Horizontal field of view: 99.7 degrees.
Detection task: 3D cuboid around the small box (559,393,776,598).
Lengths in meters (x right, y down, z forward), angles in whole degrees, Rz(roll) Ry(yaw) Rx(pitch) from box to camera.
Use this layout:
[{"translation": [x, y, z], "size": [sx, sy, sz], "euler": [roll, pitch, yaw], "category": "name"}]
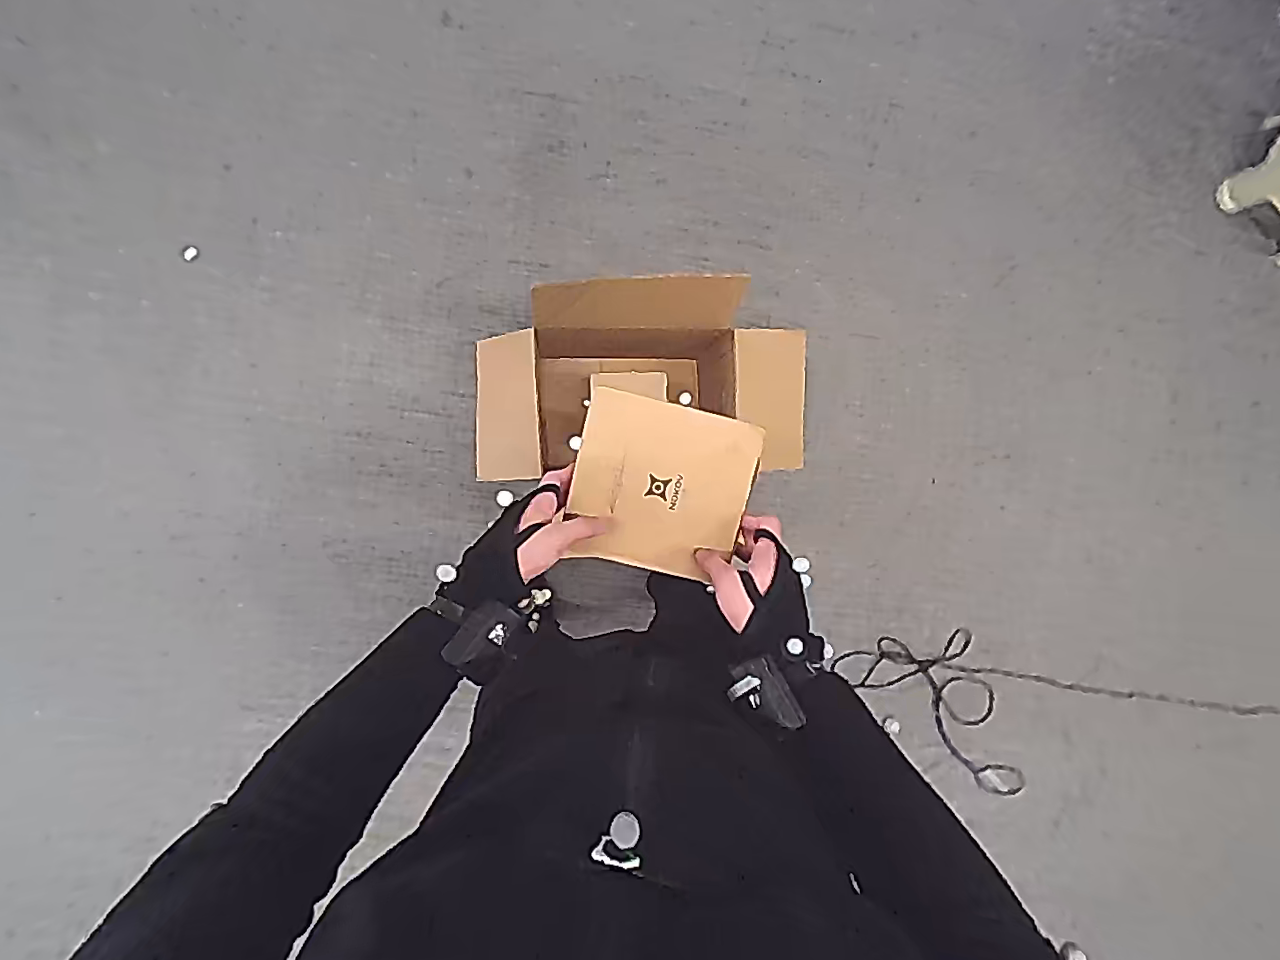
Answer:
[{"translation": [0.022, 0.009, 0.597], "size": [0.179, 0.176, 0.168], "euler": [15, 94, -4], "category": "small box"}]
